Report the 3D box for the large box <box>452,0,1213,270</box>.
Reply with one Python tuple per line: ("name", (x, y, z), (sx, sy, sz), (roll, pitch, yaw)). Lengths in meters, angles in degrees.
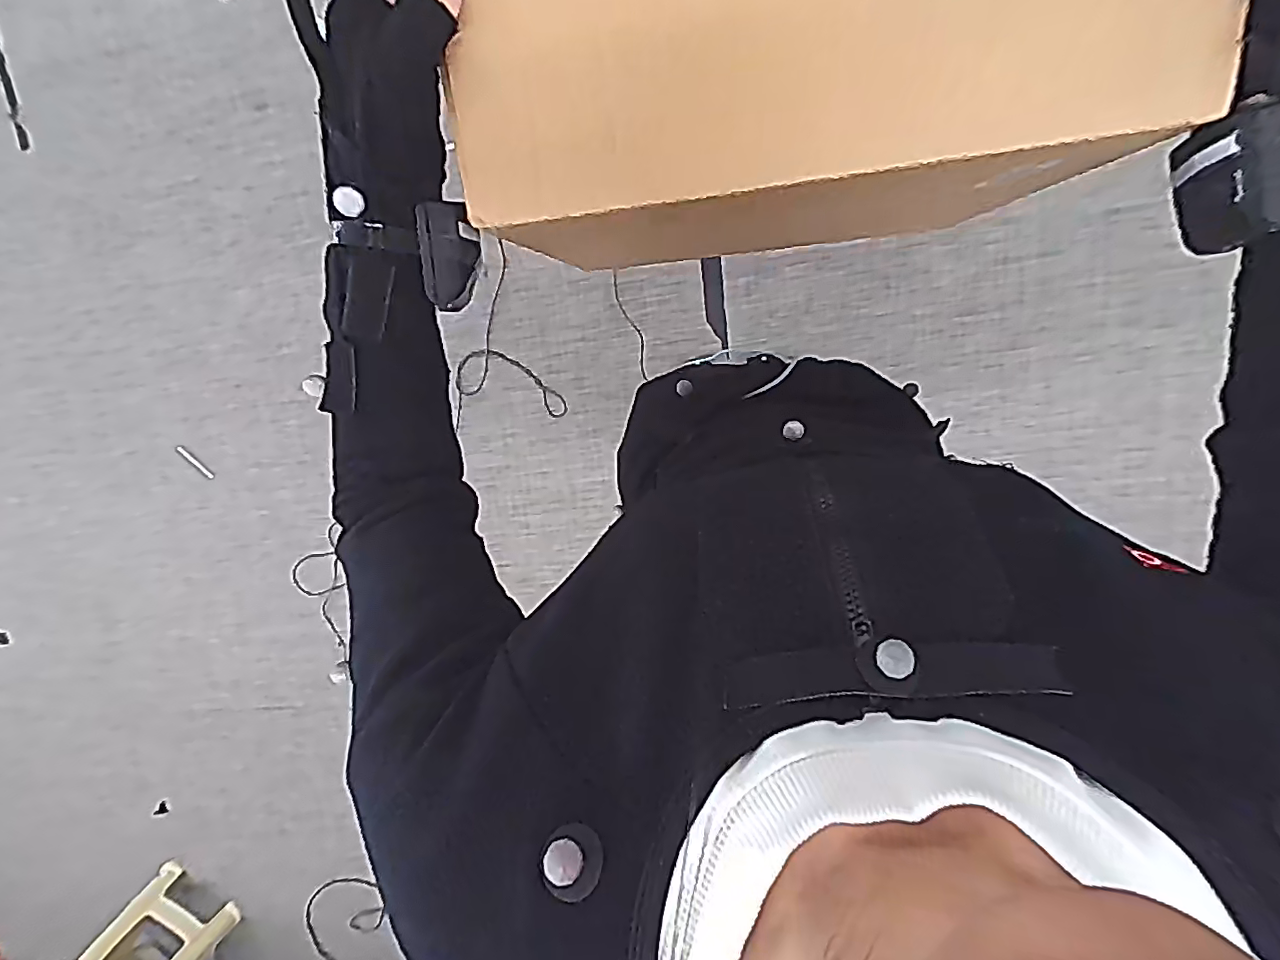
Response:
("large box", (0.097, -0.366, 0.417), (0.408, 0.320, 0.320), (-5, 106, 8))
